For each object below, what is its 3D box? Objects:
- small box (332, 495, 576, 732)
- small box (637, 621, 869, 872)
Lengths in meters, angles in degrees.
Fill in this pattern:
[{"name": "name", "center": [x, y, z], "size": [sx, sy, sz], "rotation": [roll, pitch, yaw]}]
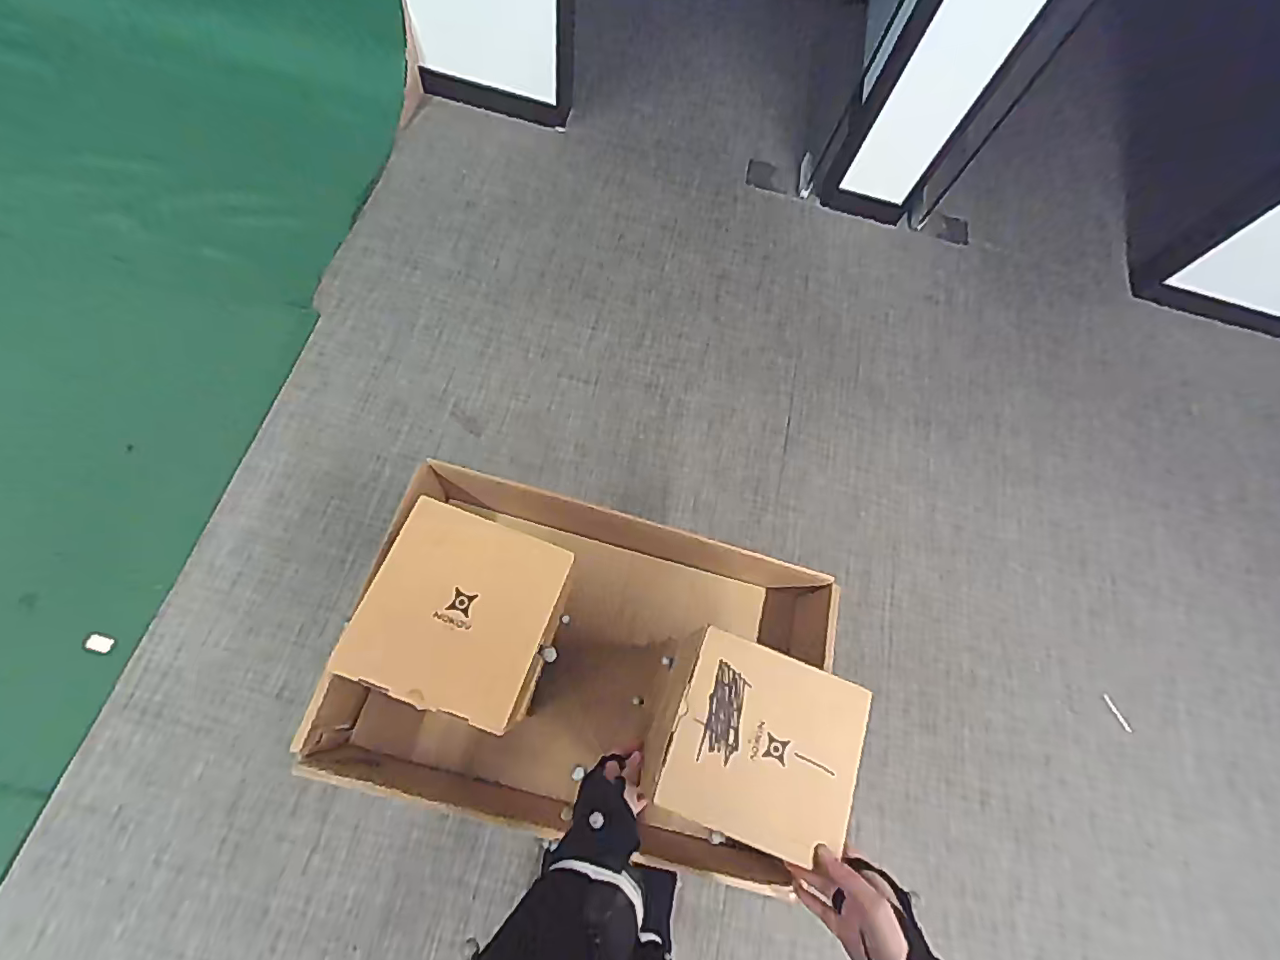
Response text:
[{"name": "small box", "center": [-0.179, 0.145, 0.577], "size": [0.168, 0.176, 0.179], "rotation": [21, 68, -1]}, {"name": "small box", "center": [0.106, 0.268, 0.572], "size": [0.179, 0.176, 0.168], "rotation": [22, 68, 1]}]
